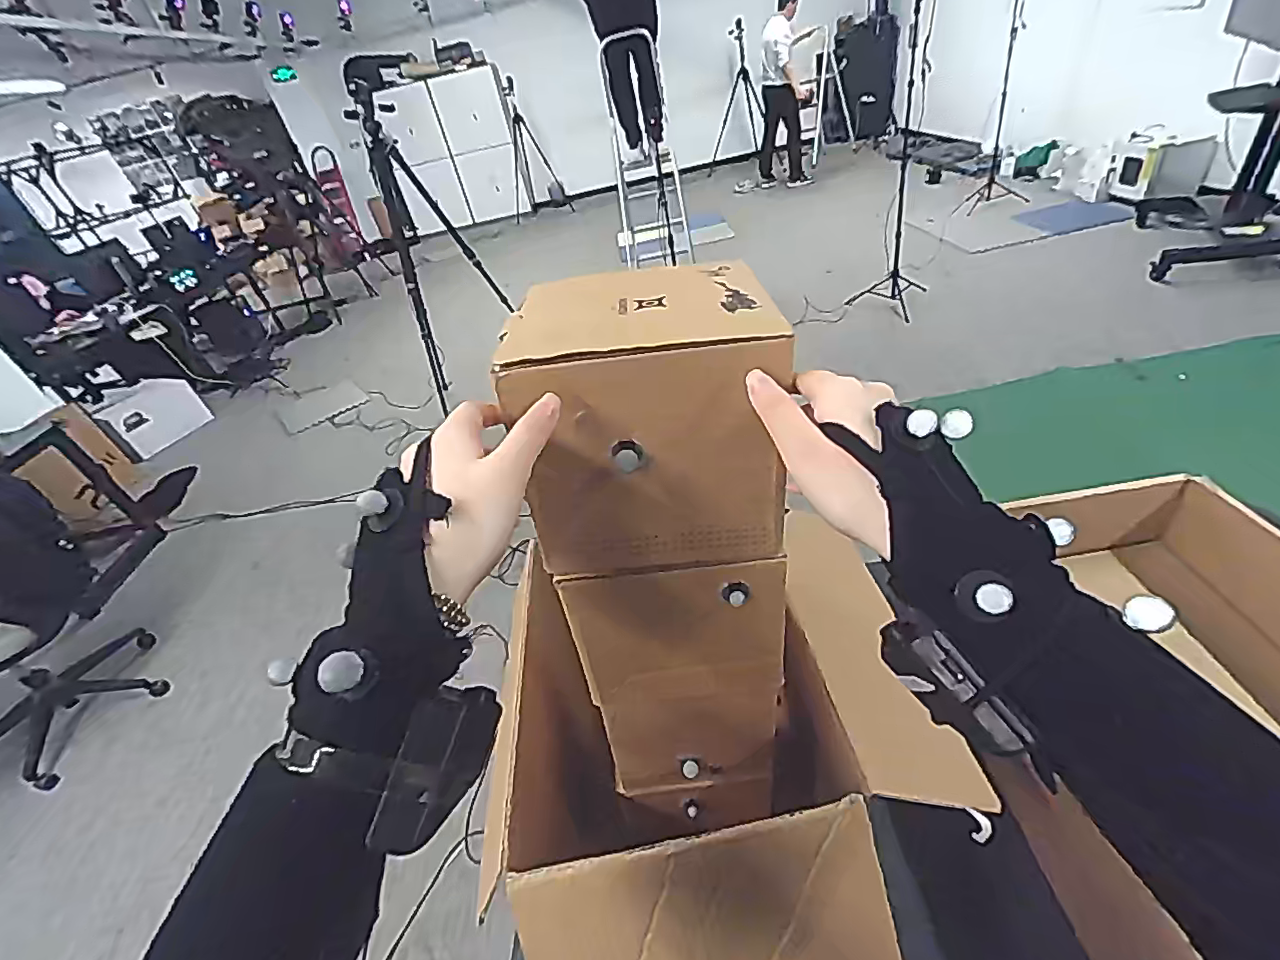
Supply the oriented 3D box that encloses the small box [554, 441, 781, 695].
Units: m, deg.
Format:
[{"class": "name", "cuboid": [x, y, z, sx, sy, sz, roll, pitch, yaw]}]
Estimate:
[{"class": "small box", "cuboid": [0.027, 0.083, 0.513, 0.179, 0.176, 0.168, -6, 36, 1]}]
